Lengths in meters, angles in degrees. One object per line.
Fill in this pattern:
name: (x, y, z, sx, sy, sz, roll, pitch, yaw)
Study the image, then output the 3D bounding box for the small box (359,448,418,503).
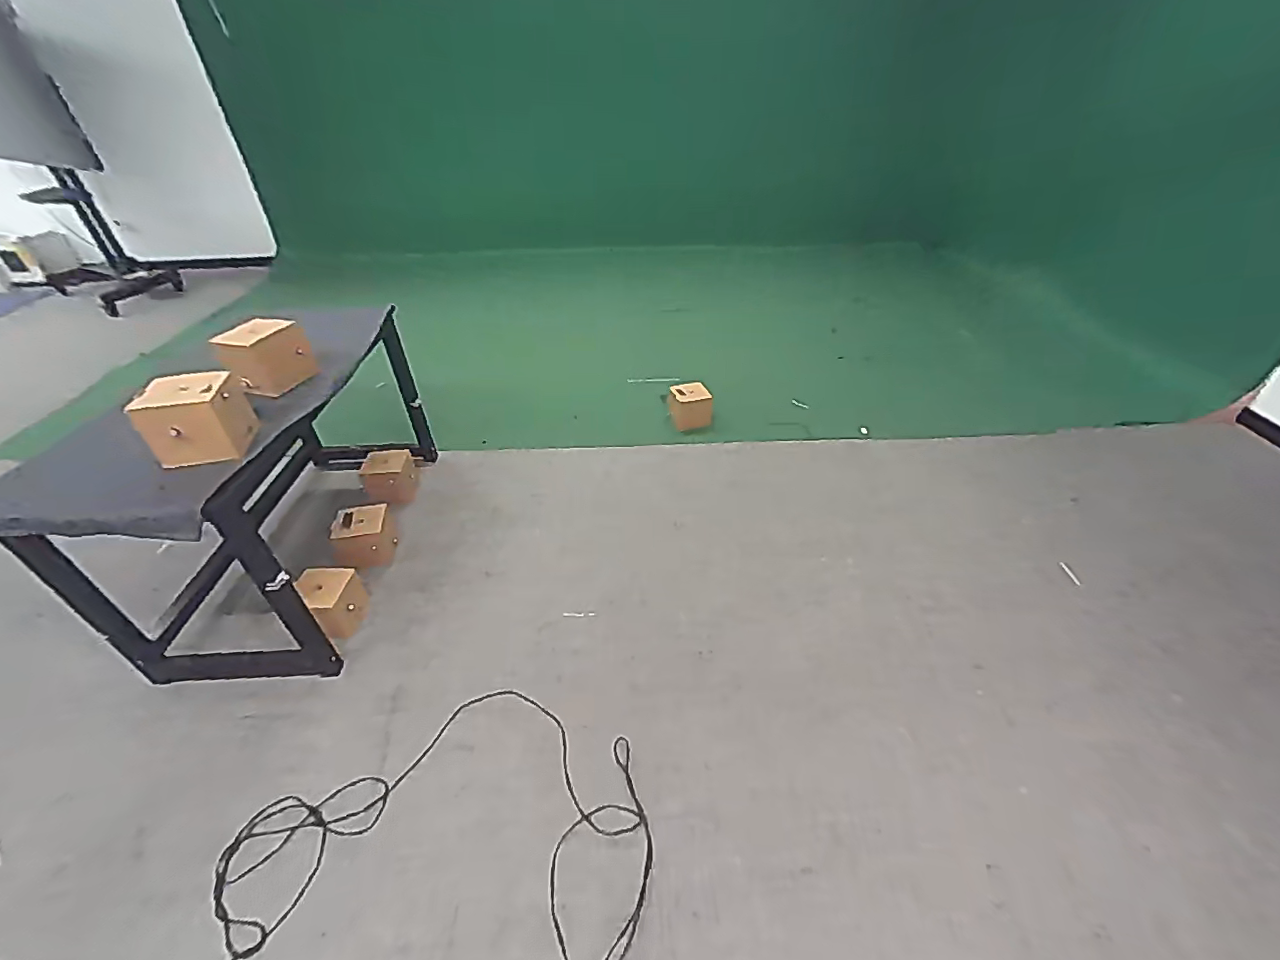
small box: (-1.080, -0.018, 2.339, 0.179, 0.176, 0.168, -4, 38, -4)

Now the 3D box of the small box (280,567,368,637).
small box: (-1.047, 0.411, 1.812, 0.179, 0.176, 0.168, 1, 39, 3)

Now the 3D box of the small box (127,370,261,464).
small box: (-1.096, -0.155, 1.349, 0.179, 0.176, 0.168, -9, 39, -10)

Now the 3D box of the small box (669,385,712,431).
small box: (0.254, -0.361, 2.733, 0.179, 0.176, 0.168, -11, 40, -13)

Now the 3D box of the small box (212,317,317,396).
small box: (-1.110, -0.372, 1.620, 0.168, 0.176, 0.179, 9, 41, 17)
